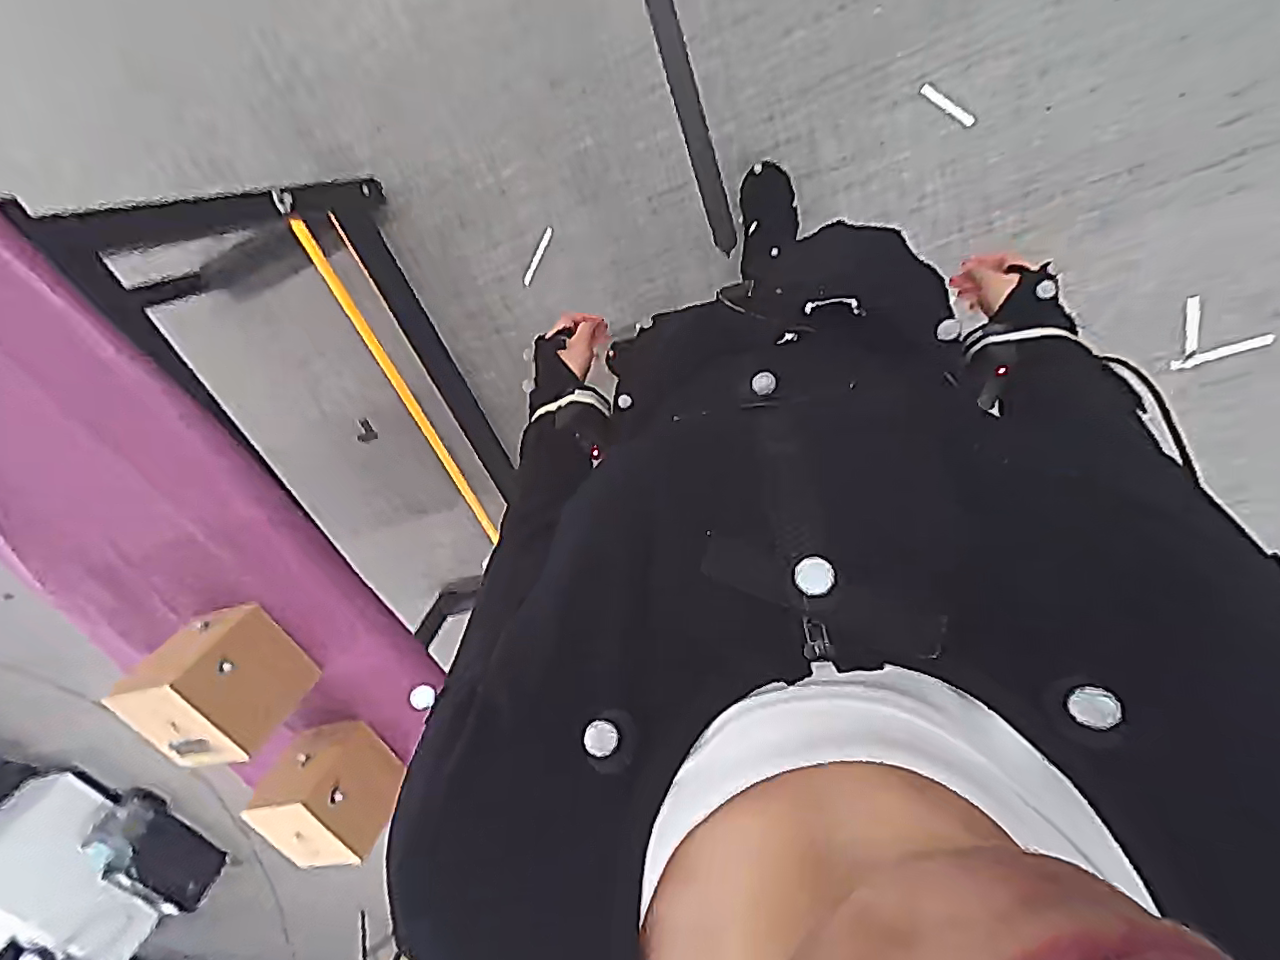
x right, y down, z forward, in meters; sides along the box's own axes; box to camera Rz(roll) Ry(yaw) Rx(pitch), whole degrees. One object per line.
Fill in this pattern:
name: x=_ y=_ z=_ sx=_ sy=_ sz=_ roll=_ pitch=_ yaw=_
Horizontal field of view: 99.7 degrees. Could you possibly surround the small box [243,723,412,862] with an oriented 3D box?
small box: x=-0.576 y=0.582 z=1.021 sx=0.168 sy=0.176 sz=0.179 roll=-17 pitch=114 yaw=20
